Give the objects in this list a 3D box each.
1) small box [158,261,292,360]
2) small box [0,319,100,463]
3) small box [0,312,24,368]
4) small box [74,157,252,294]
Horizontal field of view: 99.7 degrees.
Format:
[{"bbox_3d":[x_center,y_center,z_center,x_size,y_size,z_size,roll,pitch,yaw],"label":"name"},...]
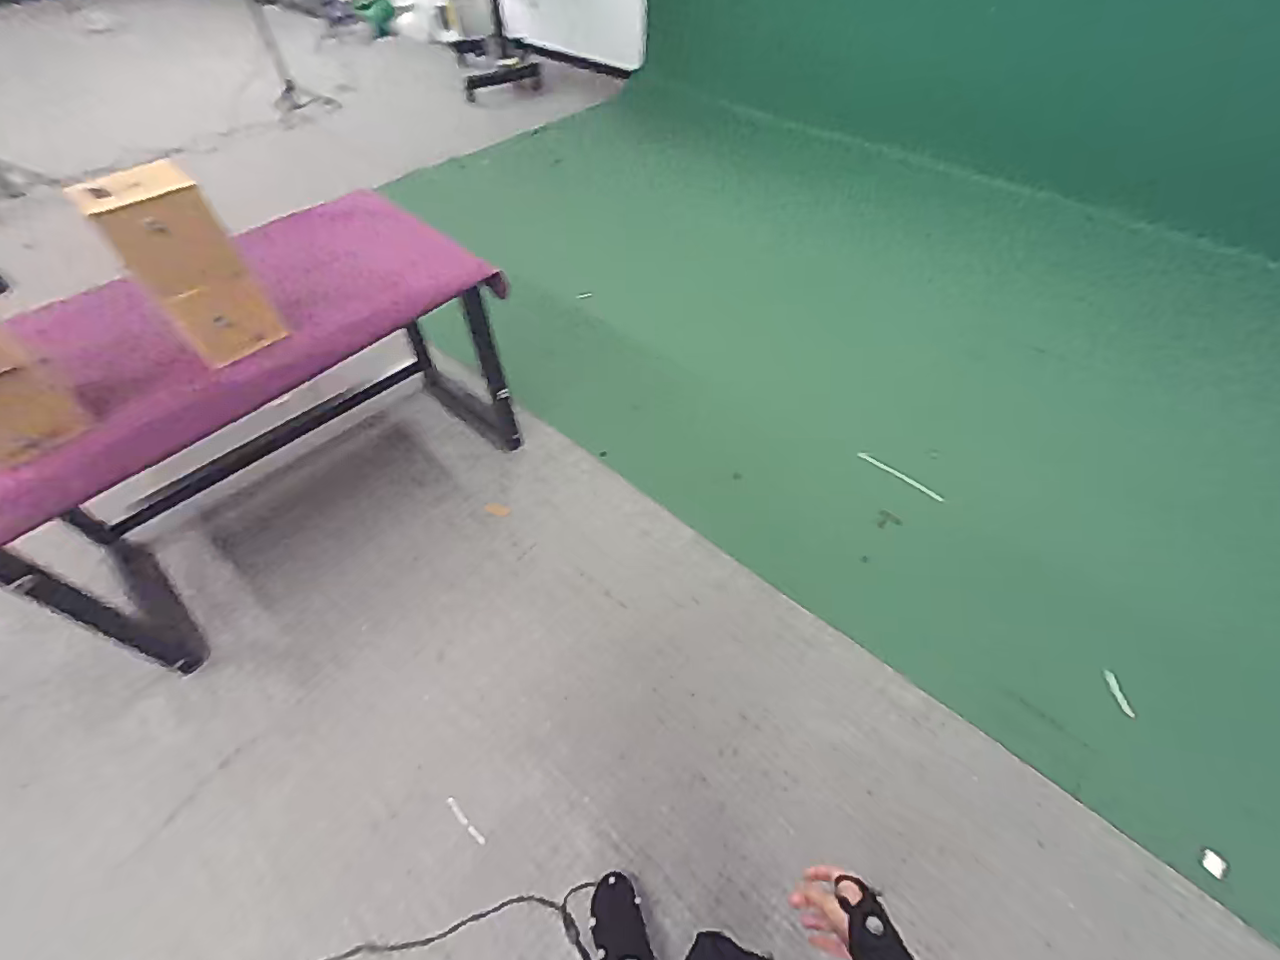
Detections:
[{"bbox_3d":[-0.903,-0.385,1.169,0.179,0.176,0.168,34,60,26],"label":"small box"},{"bbox_3d":[-1.171,-0.162,0.996,0.179,0.176,0.168,35,60,24],"label":"small box"},{"bbox_3d":[-1.163,-0.258,0.863,0.179,0.176,0.168,37,61,25],"label":"small box"},{"bbox_3d":[-0.906,-0.486,1.040,0.168,0.176,0.179,37,60,27],"label":"small box"}]
